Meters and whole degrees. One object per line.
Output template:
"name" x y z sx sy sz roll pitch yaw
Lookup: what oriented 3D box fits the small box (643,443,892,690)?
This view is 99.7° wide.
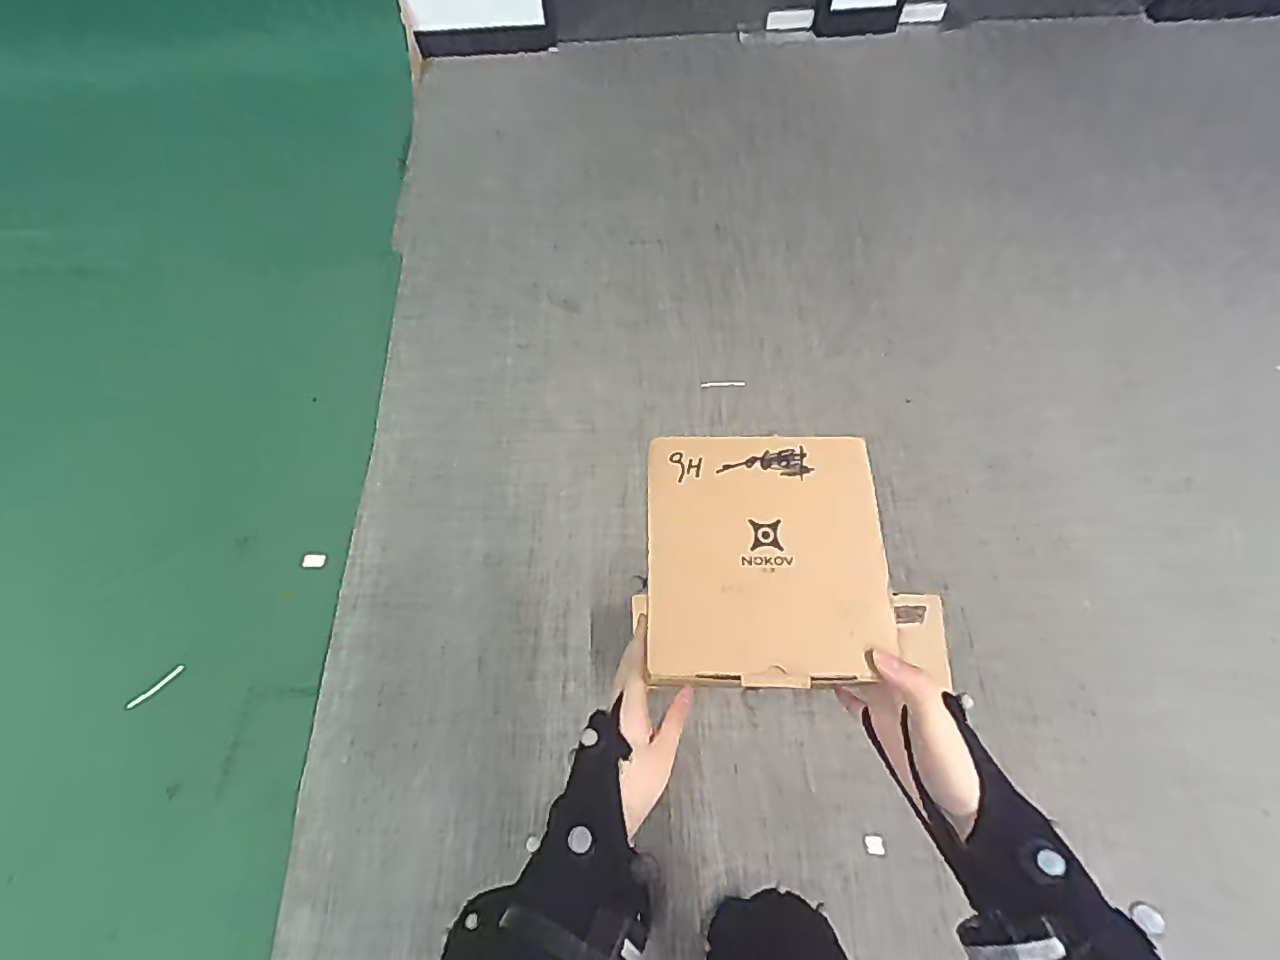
"small box" 0.087 0.082 0.458 0.168 0.176 0.179 1 69 0

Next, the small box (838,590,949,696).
"small box" 0.456 0.314 1.035 0.168 0.176 0.179 4 68 2
